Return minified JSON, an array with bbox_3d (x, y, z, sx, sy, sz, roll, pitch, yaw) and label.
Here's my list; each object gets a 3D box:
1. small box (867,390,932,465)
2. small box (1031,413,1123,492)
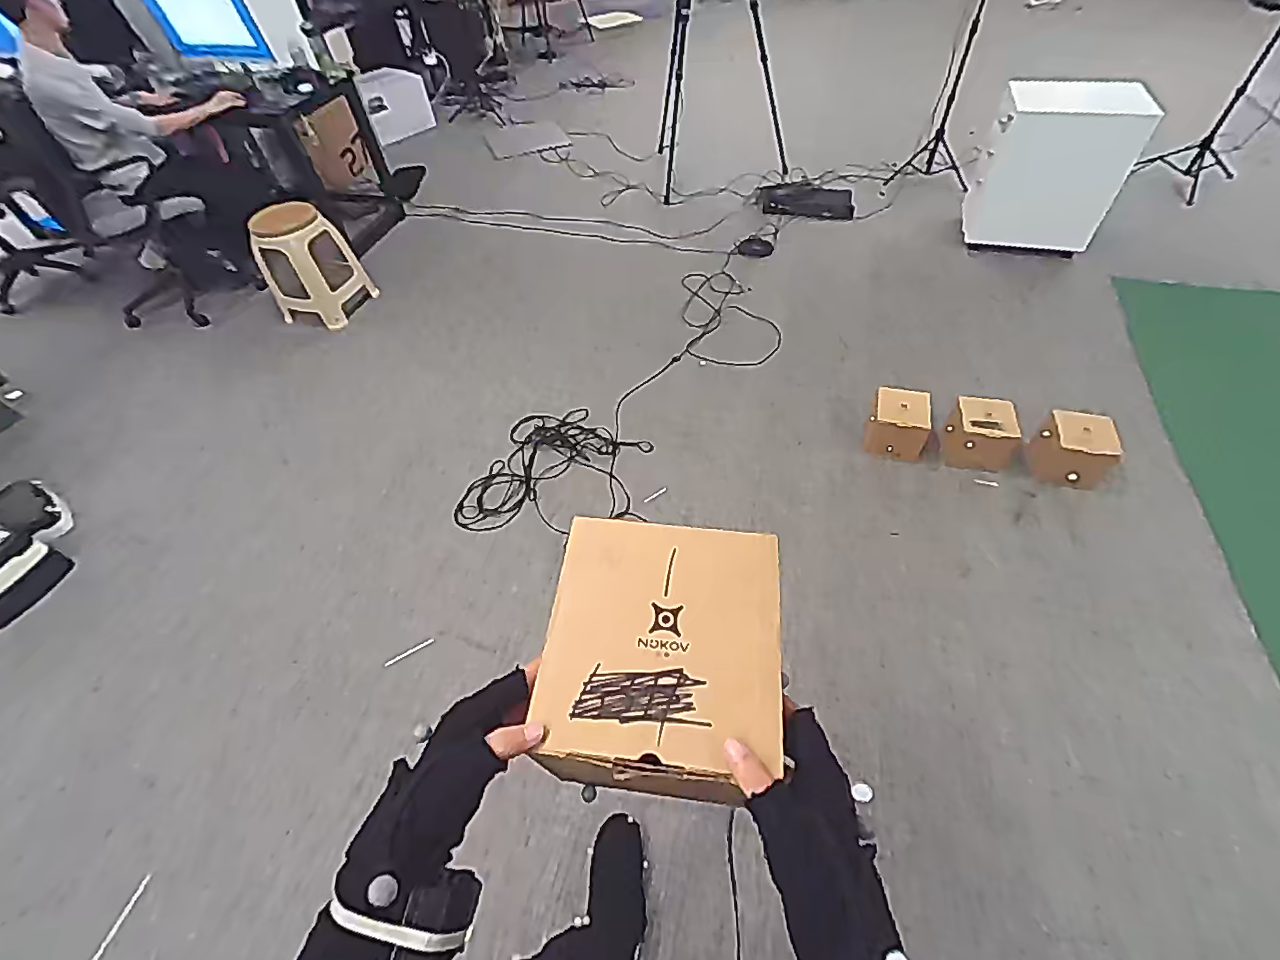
[{"bbox_3d":[0.893,-0.181,1.870,0.168,0.176,0.179,11,53,14],"label":"small box"},{"bbox_3d":[1.401,-0.088,1.748,0.168,0.176,0.179,11,53,14],"label":"small box"}]
